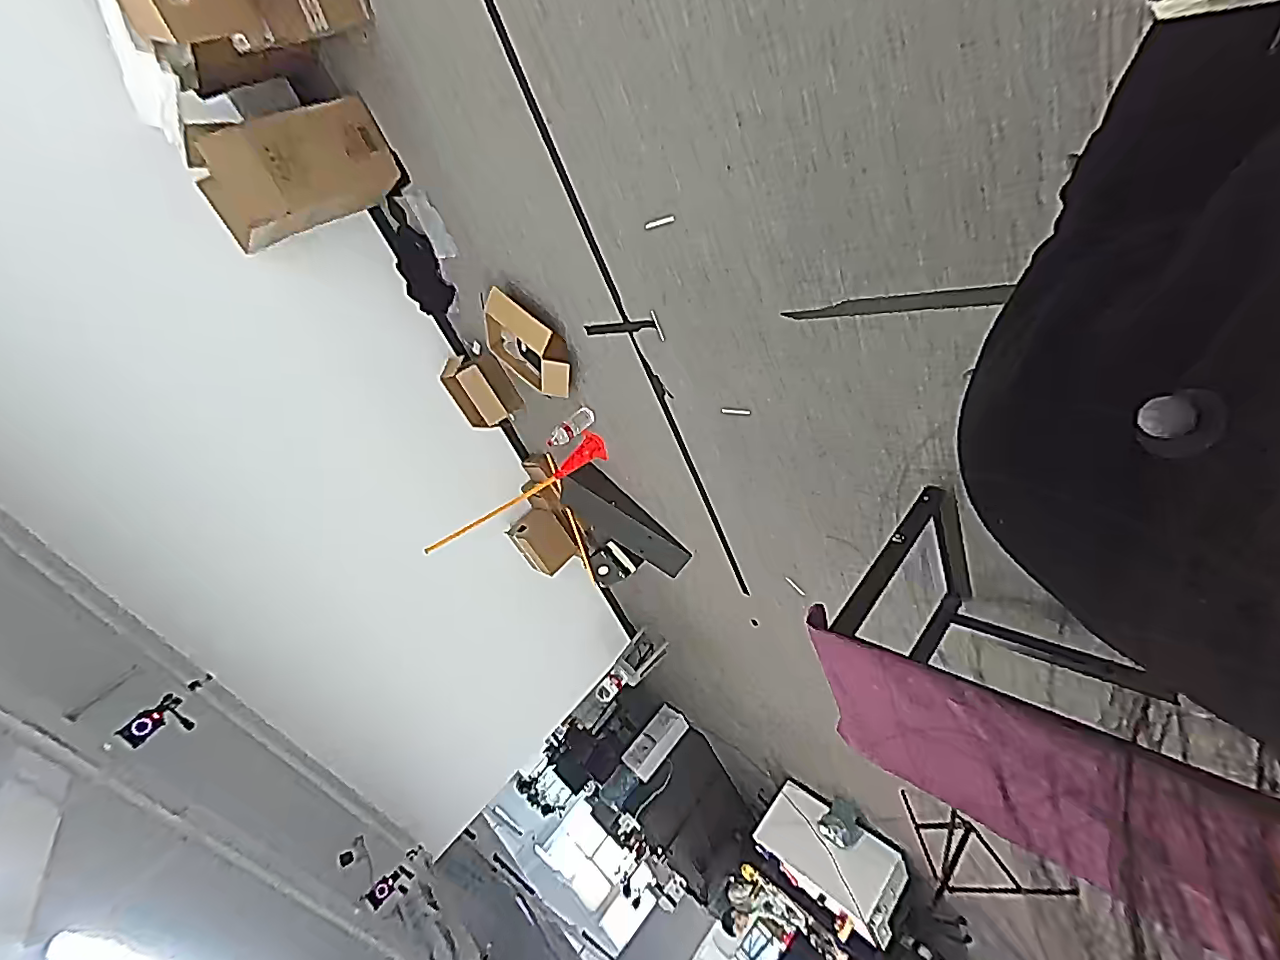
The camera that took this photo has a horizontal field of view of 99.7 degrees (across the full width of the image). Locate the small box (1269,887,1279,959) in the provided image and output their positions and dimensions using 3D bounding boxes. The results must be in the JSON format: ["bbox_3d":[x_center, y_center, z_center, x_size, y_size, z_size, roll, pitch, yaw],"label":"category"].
[{"bbox_3d":[1.118,0.752,0.841,0.168,0.176,0.179,9,135,50],"label":"small box"}]
